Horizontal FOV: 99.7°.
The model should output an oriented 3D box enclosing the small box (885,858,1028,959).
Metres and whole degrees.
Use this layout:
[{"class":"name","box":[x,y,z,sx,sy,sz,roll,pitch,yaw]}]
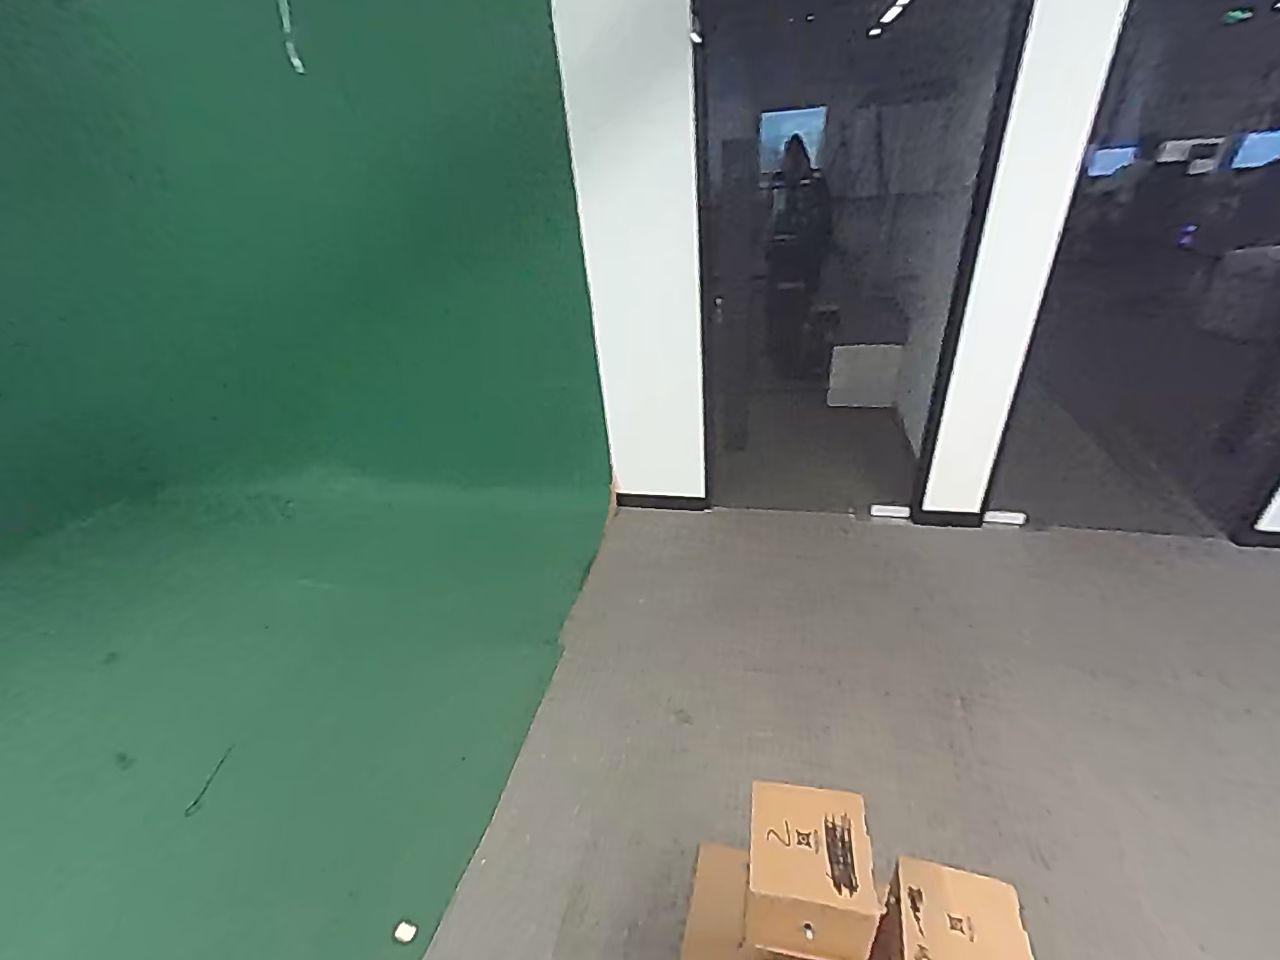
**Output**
[{"class":"small box","box":[0.504,0.762,0.874,0.179,0.176,0.168,4,33,20]}]
